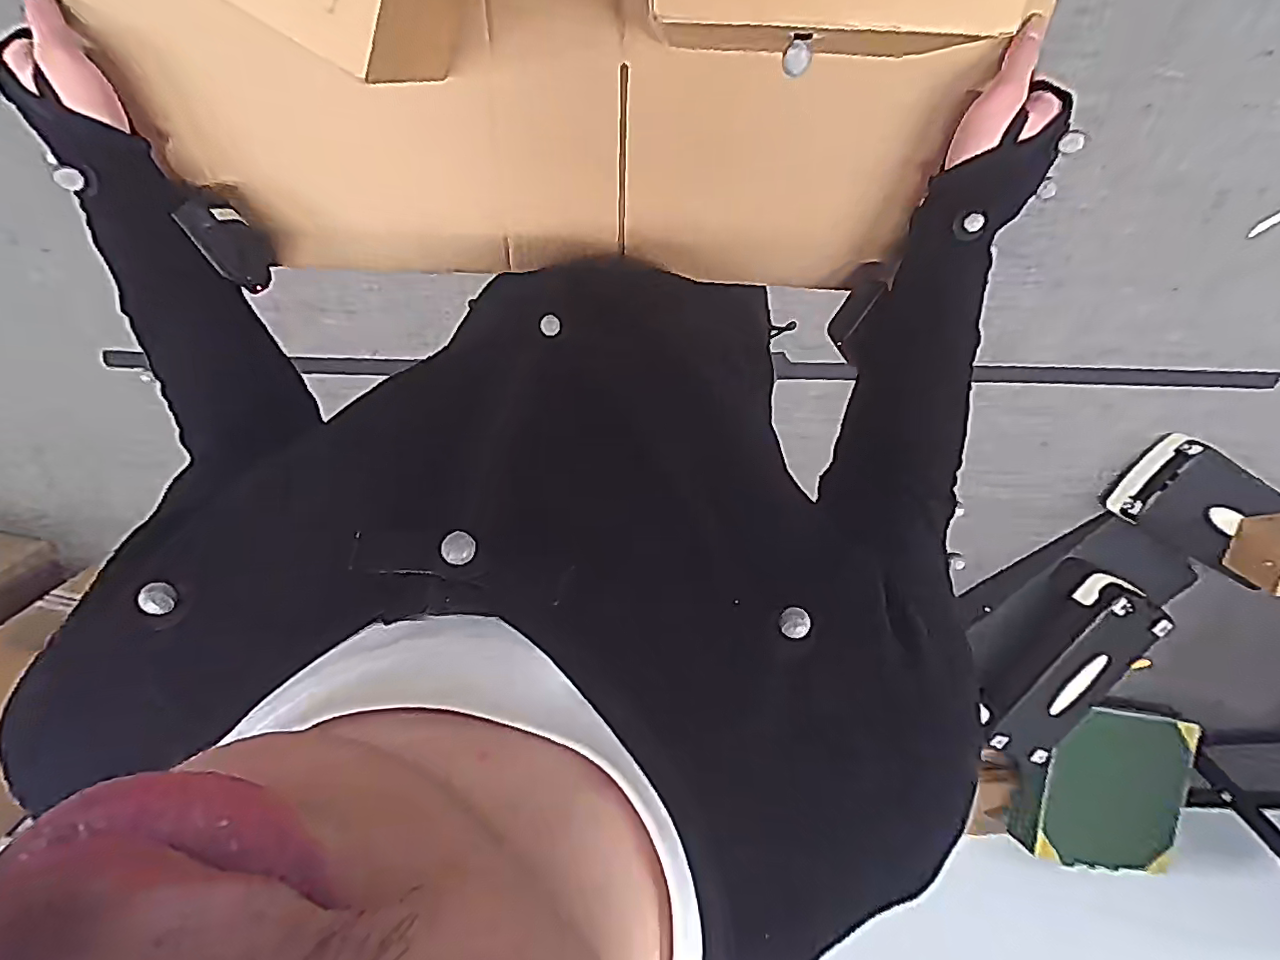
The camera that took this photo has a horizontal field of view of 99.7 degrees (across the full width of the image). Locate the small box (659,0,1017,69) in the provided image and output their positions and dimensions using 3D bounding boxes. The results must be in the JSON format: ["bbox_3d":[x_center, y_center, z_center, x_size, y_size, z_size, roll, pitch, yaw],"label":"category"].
[{"bbox_3d":[0.106,-0.333,0.295,0.179,0.176,0.168,5,125,3],"label":"small box"}]
